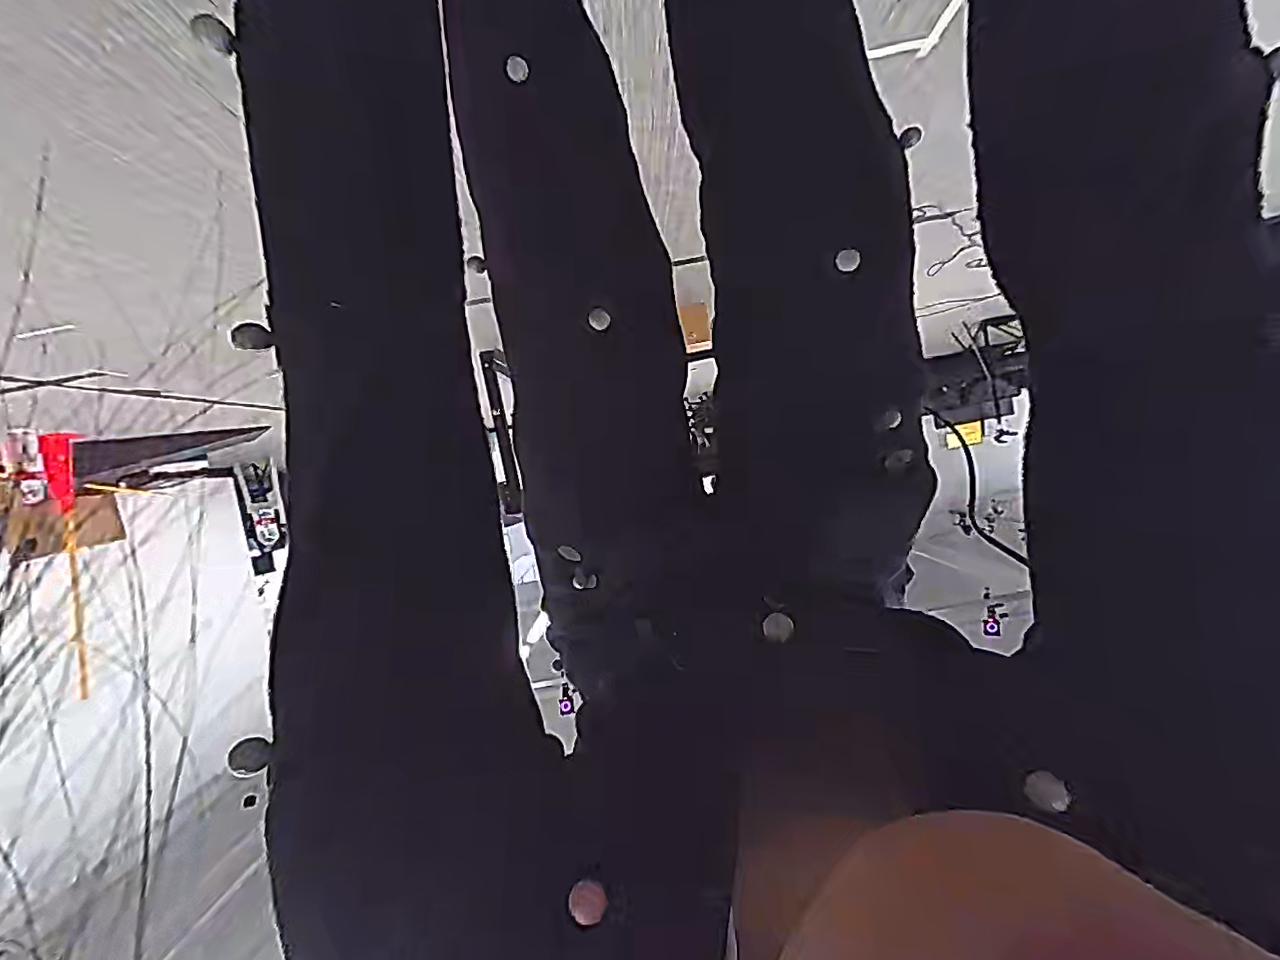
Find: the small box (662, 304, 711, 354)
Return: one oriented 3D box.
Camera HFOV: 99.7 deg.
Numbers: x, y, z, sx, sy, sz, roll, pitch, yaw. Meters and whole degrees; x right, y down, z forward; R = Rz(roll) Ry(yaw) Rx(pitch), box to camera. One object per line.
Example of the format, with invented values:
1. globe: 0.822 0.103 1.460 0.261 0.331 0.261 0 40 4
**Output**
1. small box: 0.201 -0.667 2.383 0.179 0.176 0.168 -10 -178 -1
